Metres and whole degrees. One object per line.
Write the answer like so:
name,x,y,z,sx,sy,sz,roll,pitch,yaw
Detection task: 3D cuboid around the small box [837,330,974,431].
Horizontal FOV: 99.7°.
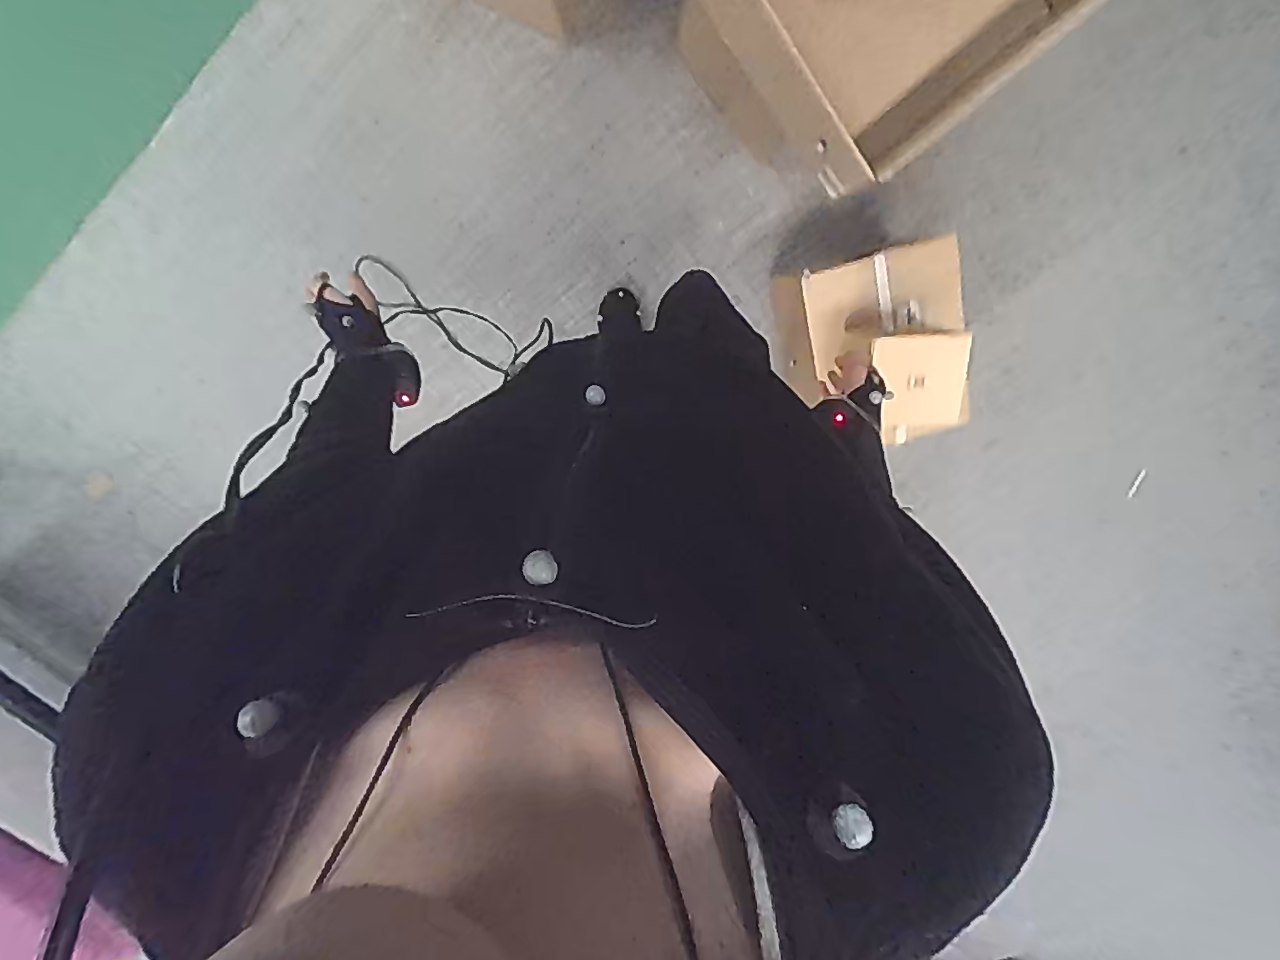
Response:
small box,0.504,-0.198,1.052,0.179,0.176,0.168,-1,111,3

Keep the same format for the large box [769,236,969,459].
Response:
large box,0.520,-0.310,1.271,0.320,0.320,0.408,-15,108,5
